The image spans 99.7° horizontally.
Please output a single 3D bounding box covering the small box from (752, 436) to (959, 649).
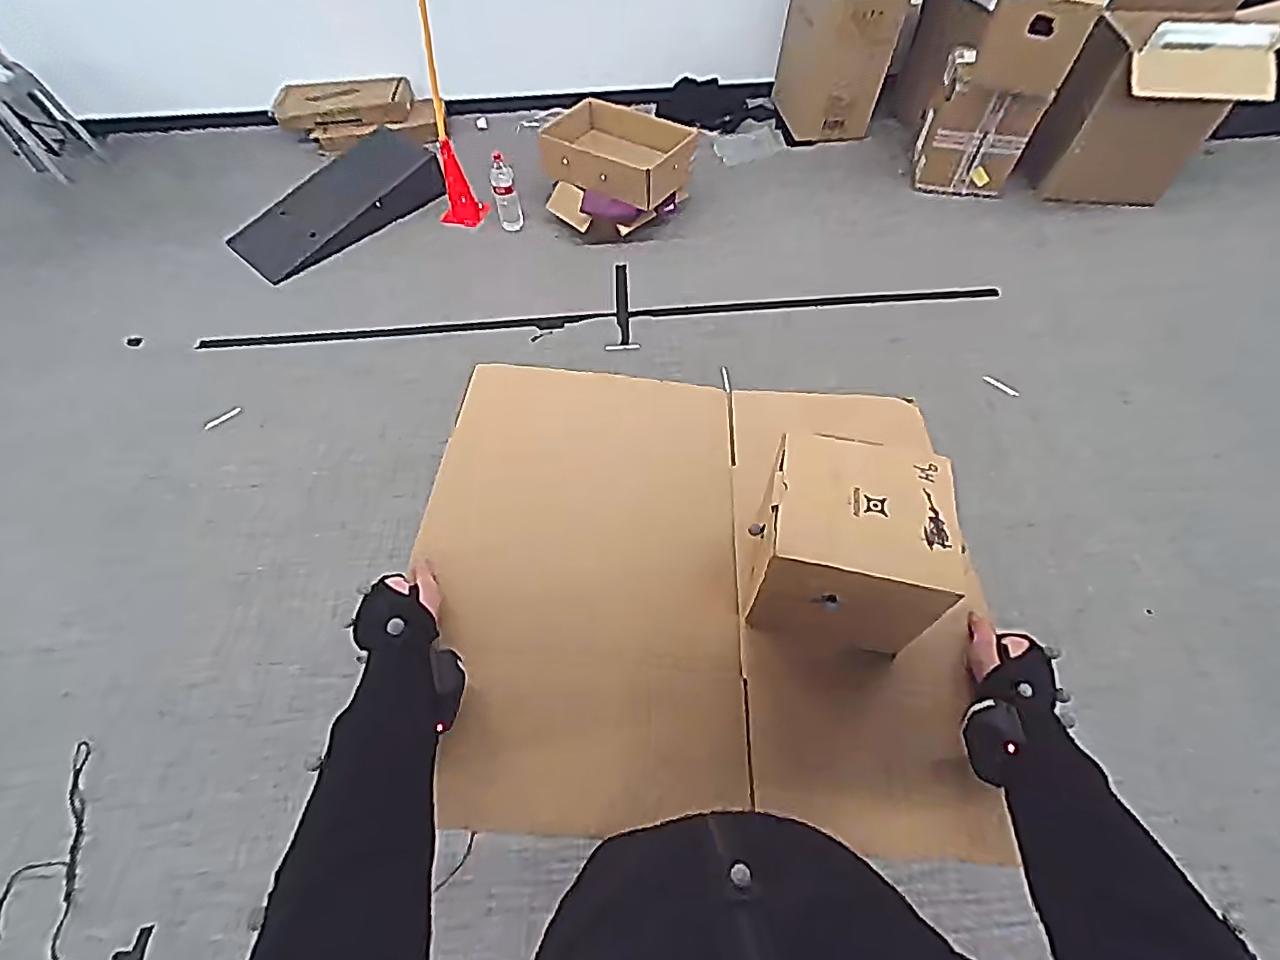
[{"bbox_3d":[0.230,0.076,0.617,0.179,0.176,0.168,10,55,9],"label":"small box"}]
